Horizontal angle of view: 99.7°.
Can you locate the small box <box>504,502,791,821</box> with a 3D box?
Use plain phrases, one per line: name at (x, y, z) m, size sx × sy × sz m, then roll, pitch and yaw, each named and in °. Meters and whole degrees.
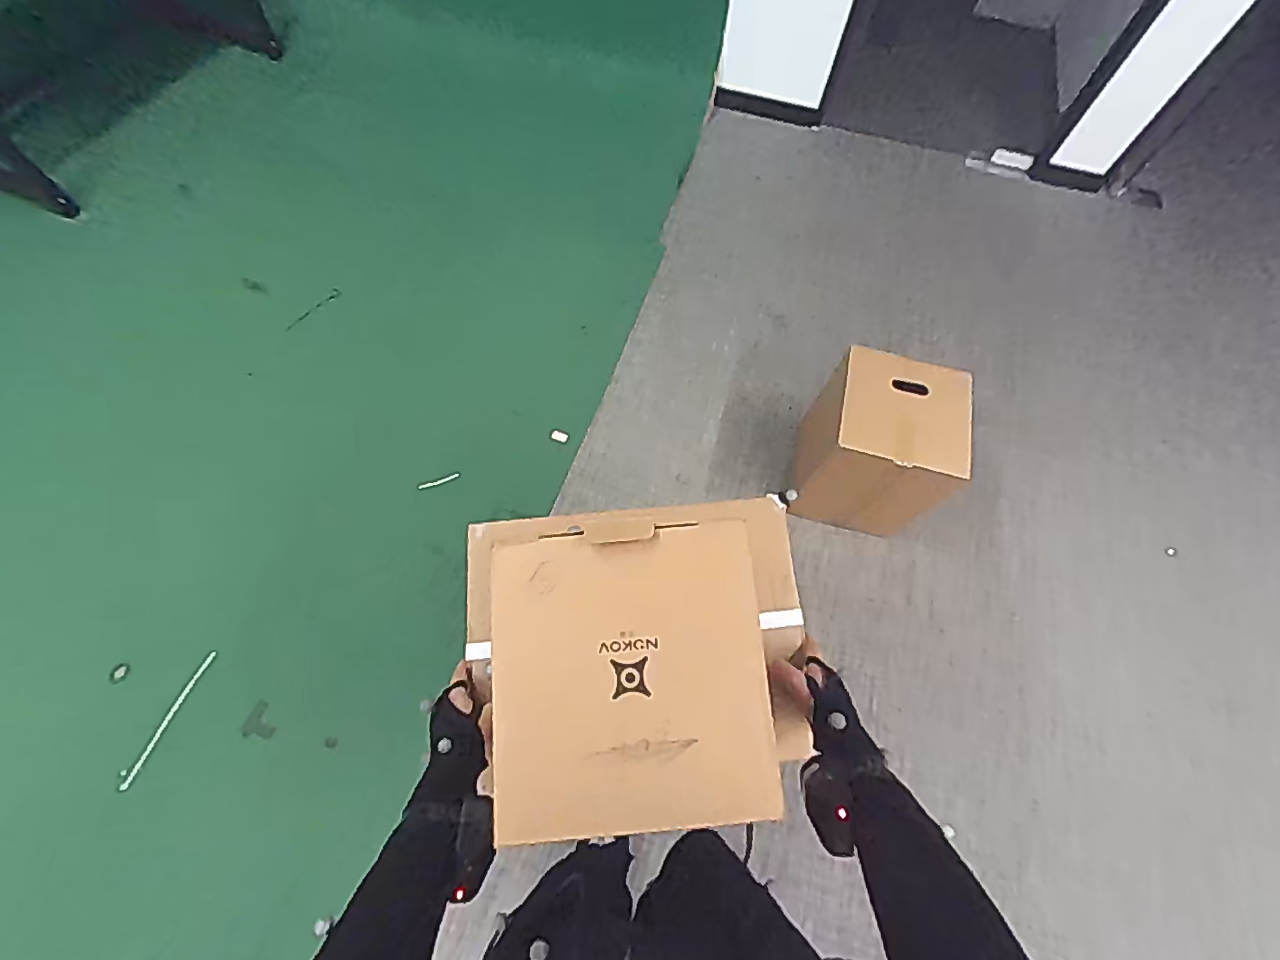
small box at (-0.002, 0.123, 0.404) m, size 0.168 × 0.176 × 0.179 m, roll -5°, pitch 76°, yaw -1°
